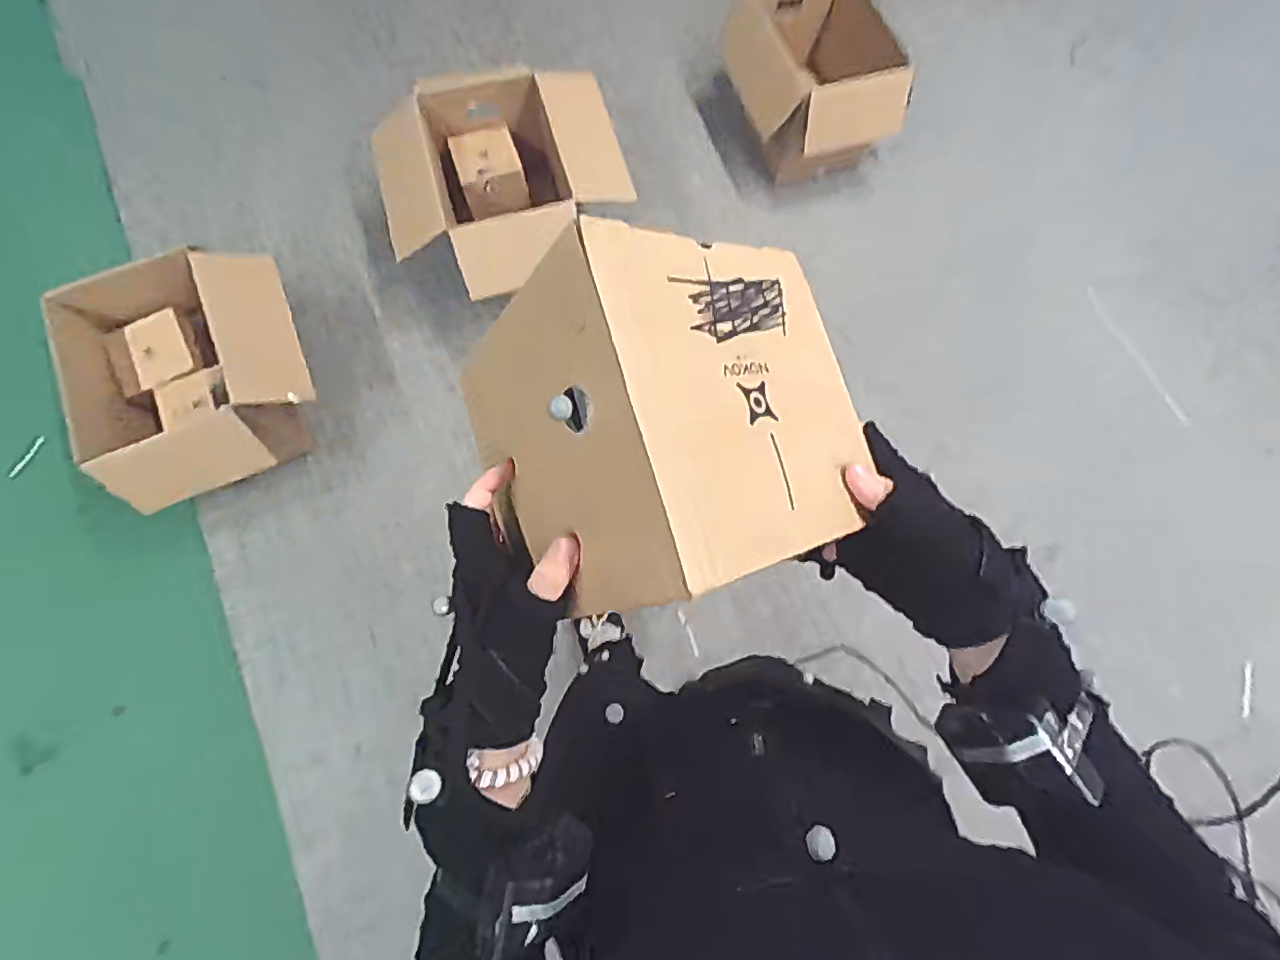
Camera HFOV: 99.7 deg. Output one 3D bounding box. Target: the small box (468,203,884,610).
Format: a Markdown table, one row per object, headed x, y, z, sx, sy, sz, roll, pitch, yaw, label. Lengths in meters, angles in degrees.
| x | y | z | sx | sy | sz | roll | pitch | yaw | label |
| --- | --- | --- | --- | --- | --- | --- | --- | --- | --- |
| 0.010 | -0.030 | 0.338 | 0.168 | 0.176 | 0.179 | -11 | 81 | -38 | small box |
